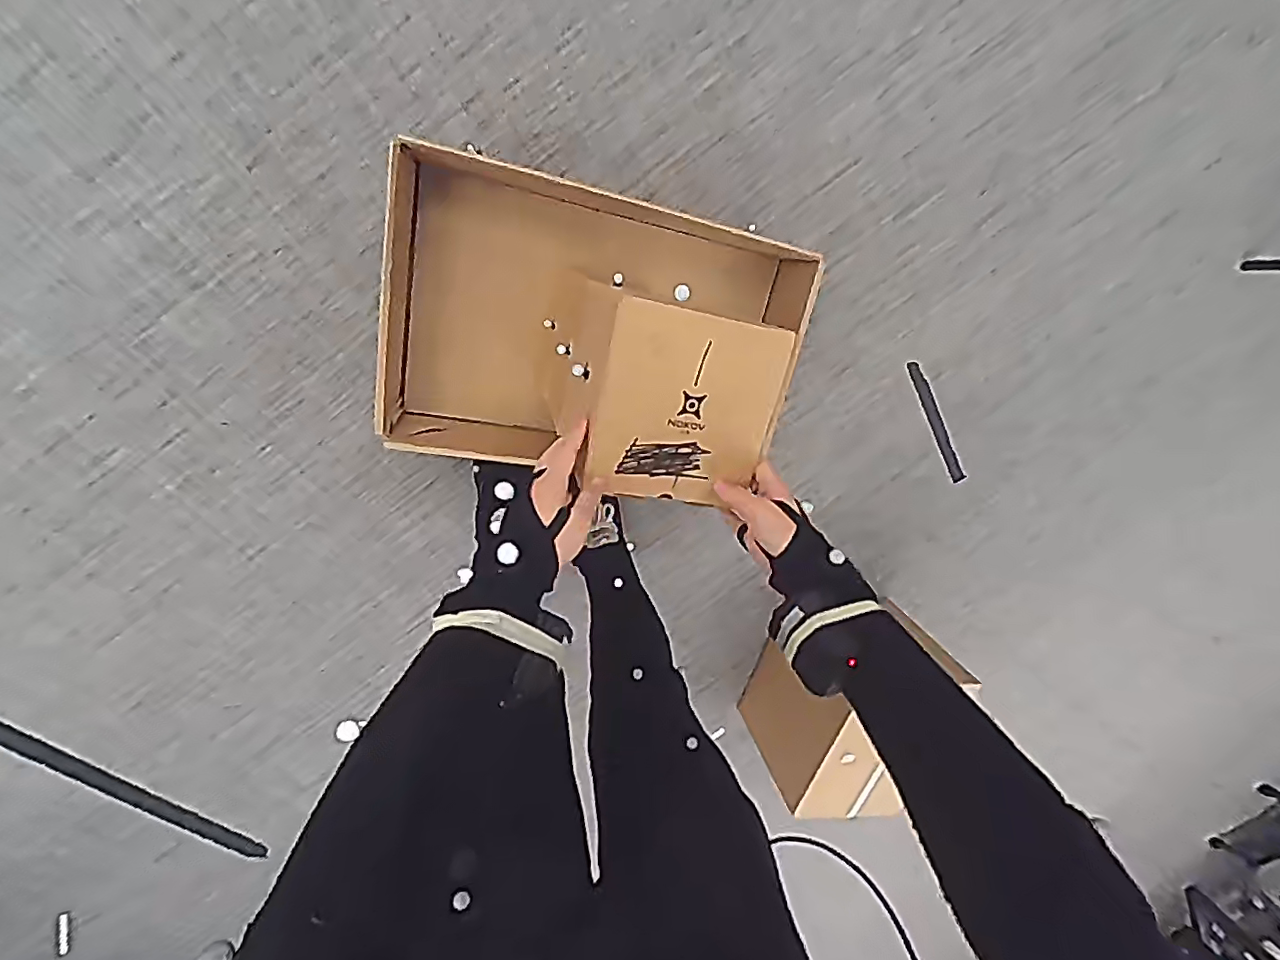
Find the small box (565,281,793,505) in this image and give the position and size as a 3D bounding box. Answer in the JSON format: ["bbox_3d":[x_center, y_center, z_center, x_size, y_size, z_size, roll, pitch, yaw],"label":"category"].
[{"bbox_3d":[0.023,-0.094,0.555,0.168,0.176,0.179,7,110,-18],"label":"small box"}]

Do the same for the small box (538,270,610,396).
[{"bbox_3d":[-0.059,-0.219,0.846,0.168,0.176,0.179,10,111,-19],"label":"small box"}]

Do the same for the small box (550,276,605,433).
[{"bbox_3d":[-0.018,-0.156,0.702,0.168,0.176,0.179,8,112,-18],"label":"small box"}]
